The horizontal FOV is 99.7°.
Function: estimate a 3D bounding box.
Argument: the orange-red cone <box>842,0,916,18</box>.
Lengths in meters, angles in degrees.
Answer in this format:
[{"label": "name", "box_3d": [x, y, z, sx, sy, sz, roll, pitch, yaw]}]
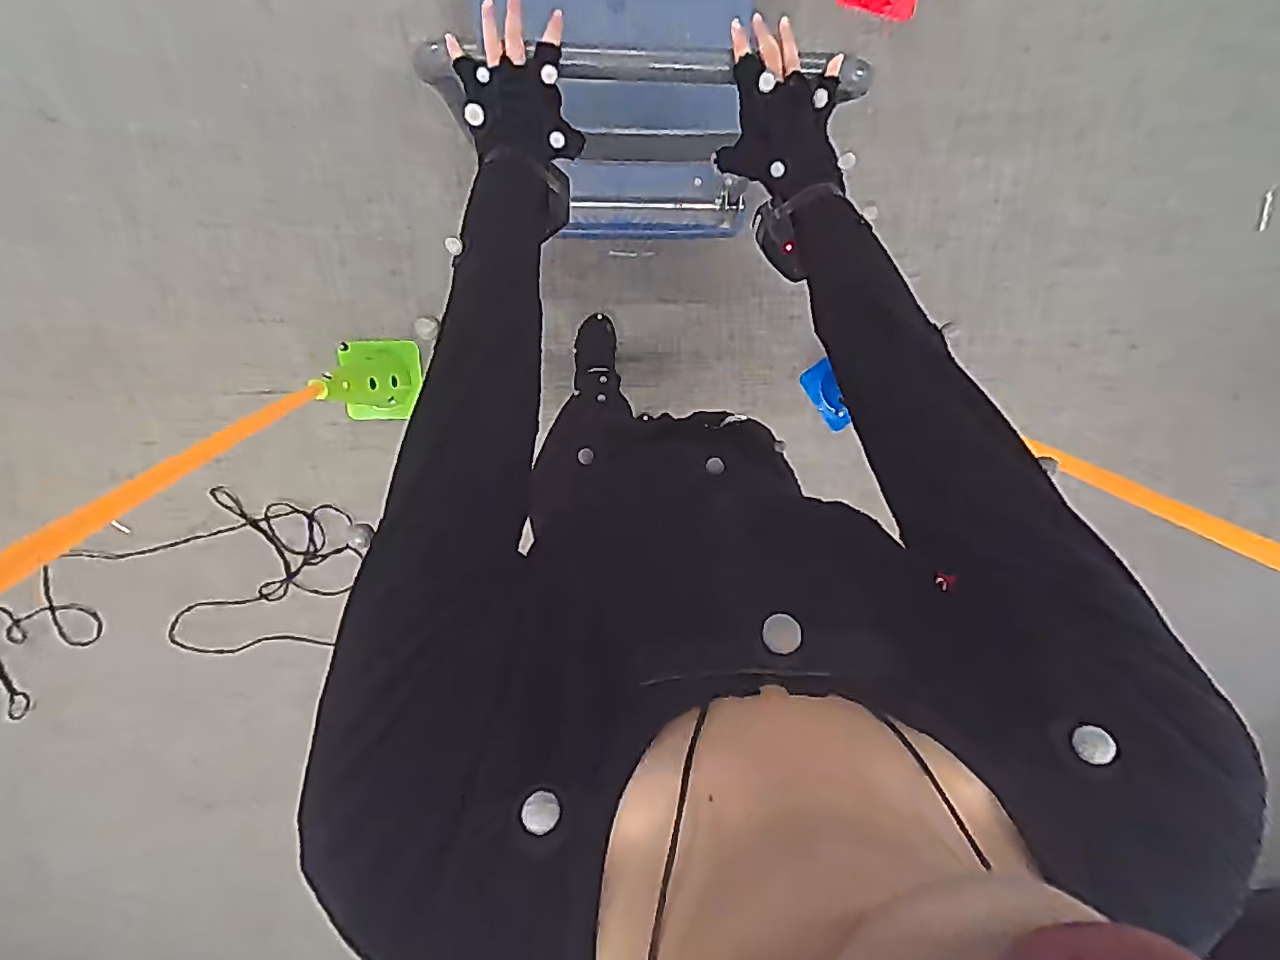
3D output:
[{"label": "orange-red cone", "box_3d": [0.588, -1.179, 1.108, 0.198, 0.360, 0.199, 10, 103, -6]}]
